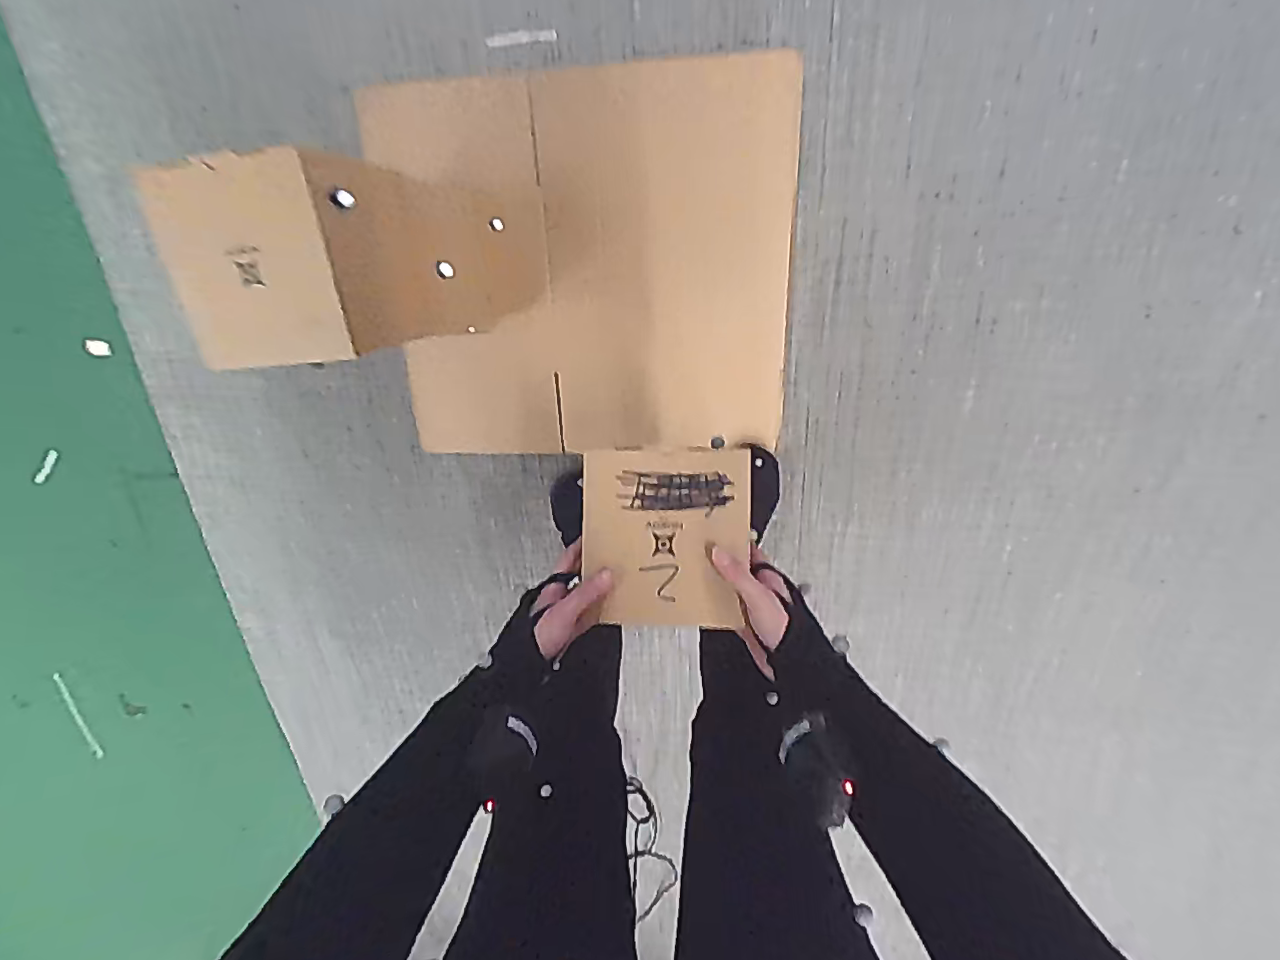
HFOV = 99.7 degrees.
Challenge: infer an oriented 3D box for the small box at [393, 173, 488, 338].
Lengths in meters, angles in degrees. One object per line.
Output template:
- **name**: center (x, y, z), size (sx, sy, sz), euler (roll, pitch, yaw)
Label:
- **small box**: center (-0.316, -0.279, 0.701), size (0.168, 0.176, 0.179), euler (-3, 111, 10)

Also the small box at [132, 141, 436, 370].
- **small box**: center (-0.334, -0.220, 0.551), size (0.168, 0.176, 0.179), euler (-3, 111, 10)

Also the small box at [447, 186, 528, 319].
- **small box**: center (-0.294, -0.340, 0.851), size (0.168, 0.176, 0.179), euler (-7, 111, 11)
